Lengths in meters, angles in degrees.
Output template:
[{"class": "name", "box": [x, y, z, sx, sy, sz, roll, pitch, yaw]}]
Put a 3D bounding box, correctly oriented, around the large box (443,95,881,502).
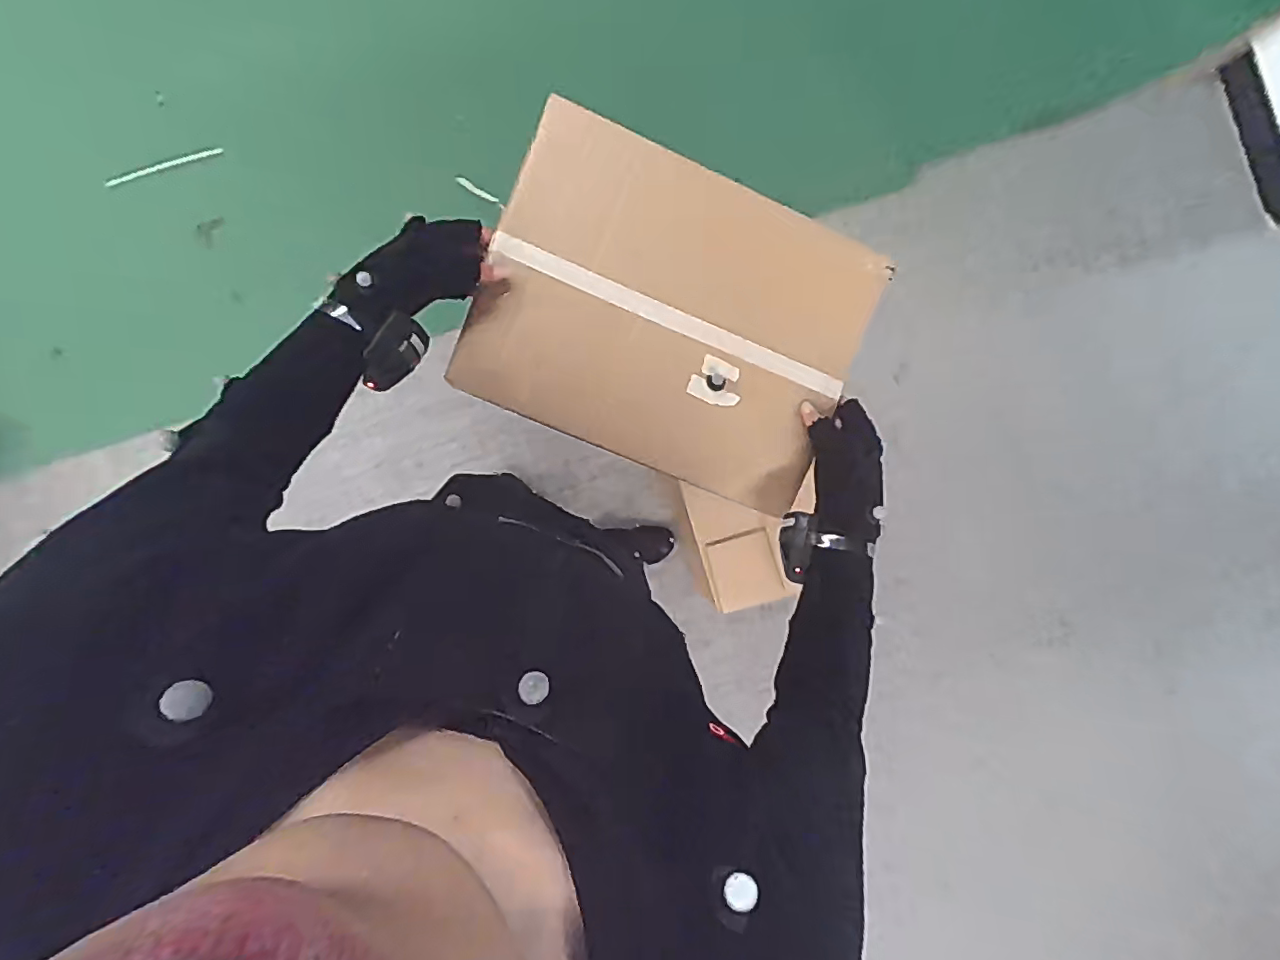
[{"class": "large box", "box": [0.013, -0.195, 0.722, 0.408, 0.320, 0.320, 21, 93, -8]}]
